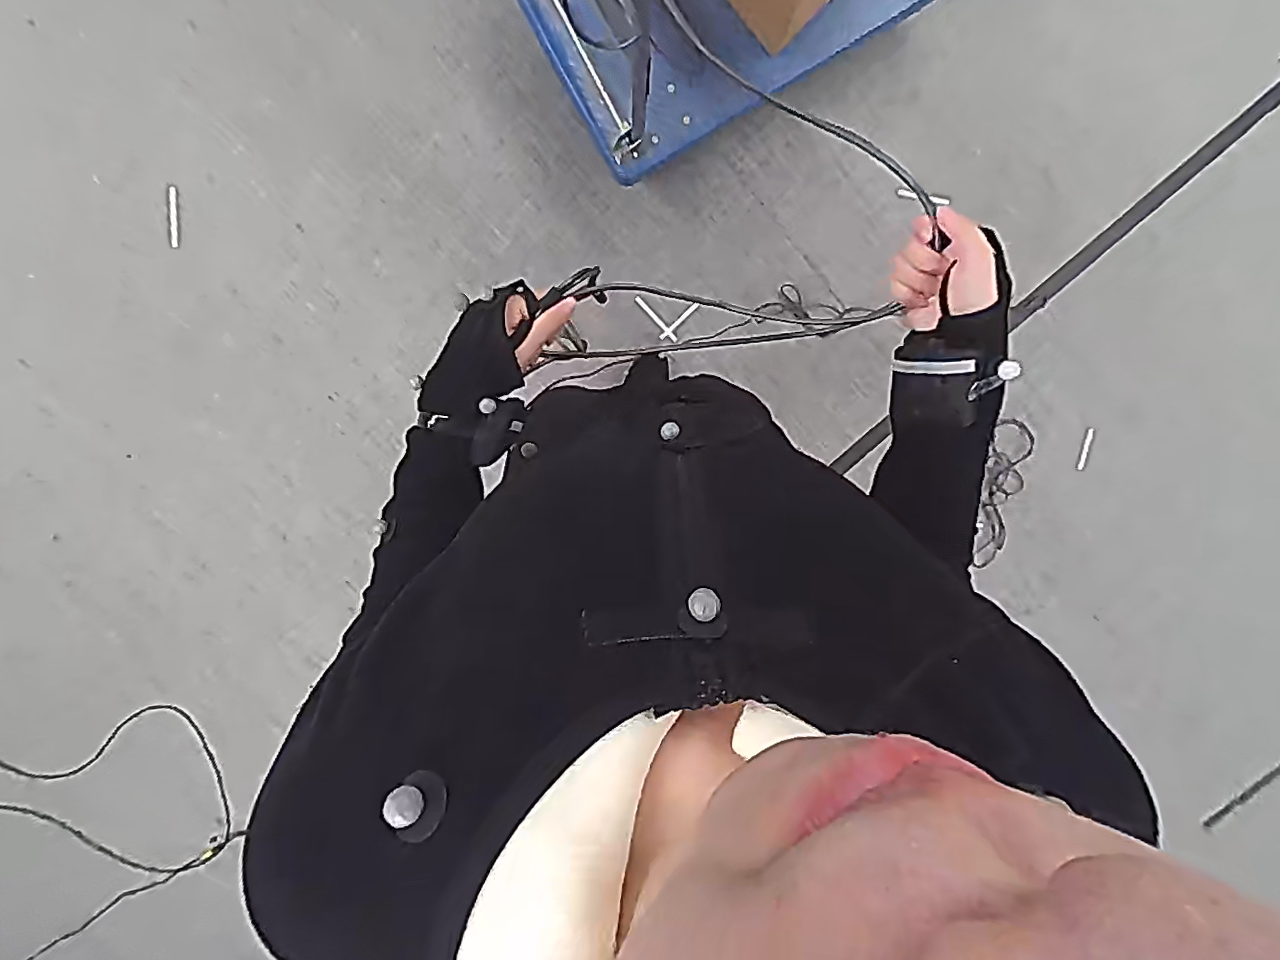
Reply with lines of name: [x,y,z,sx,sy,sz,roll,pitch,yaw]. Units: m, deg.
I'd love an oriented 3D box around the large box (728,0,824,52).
large box: [0.255,-1.108,0.949,0.320,0.320,0.408,-44,101,7]
